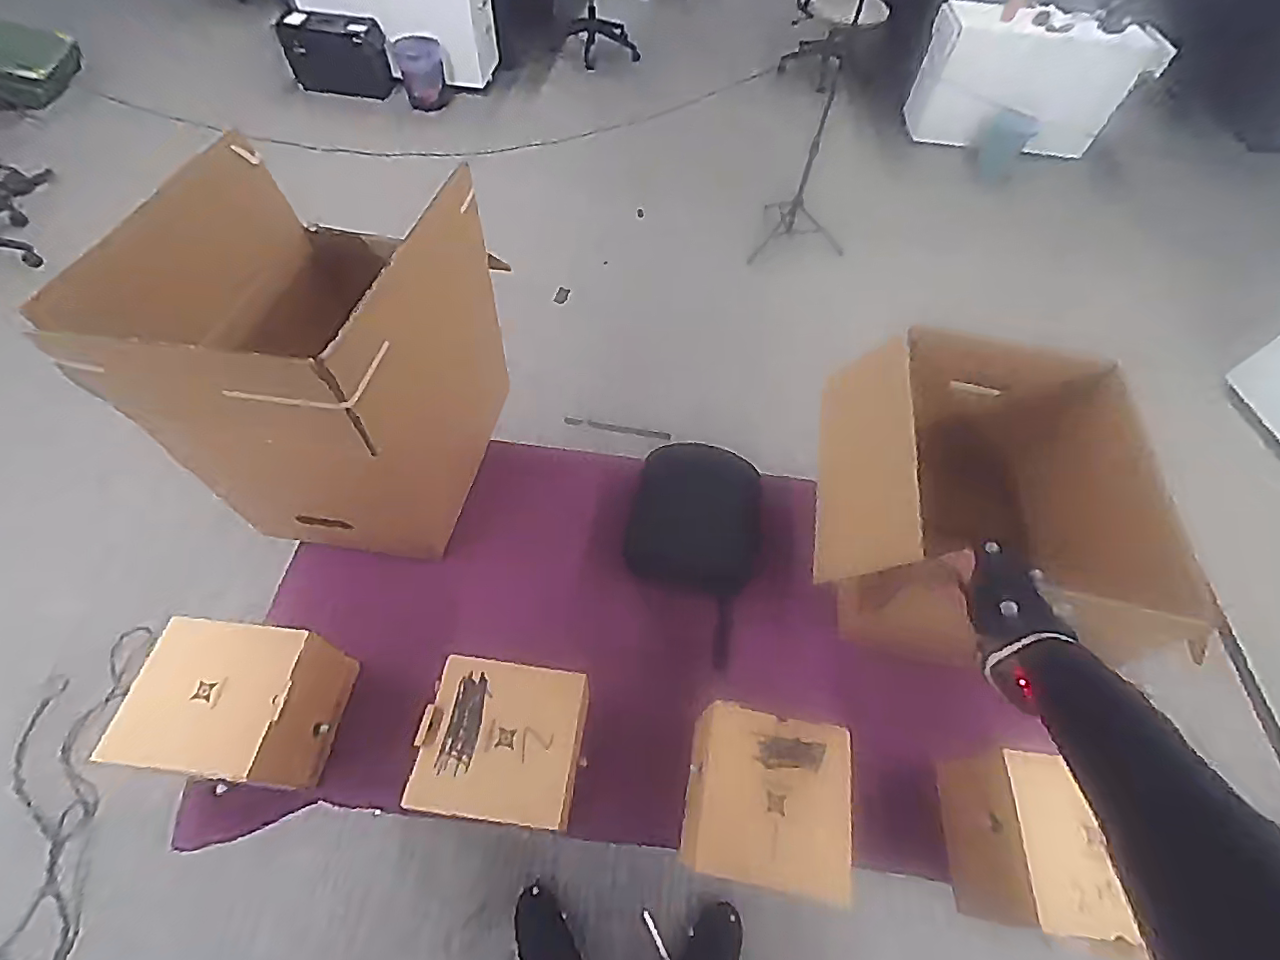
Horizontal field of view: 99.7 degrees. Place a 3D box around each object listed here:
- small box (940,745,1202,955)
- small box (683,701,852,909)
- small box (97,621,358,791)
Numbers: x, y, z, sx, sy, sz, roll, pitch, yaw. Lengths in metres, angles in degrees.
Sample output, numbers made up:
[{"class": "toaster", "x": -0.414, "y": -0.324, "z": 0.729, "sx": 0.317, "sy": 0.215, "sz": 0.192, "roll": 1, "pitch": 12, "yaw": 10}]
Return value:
[{"class": "small box", "x": 0.498, "y": 0.444, "z": 0.664, "sx": 0.168, "sy": 0.176, "sz": 0.179, "roll": 7, "pitch": 57, "yaw": 3}, {"class": "small box", "x": 0.151, "y": 0.398, "z": 0.673, "sx": 0.168, "sy": 0.176, "sz": 0.179, "roll": 11, "pitch": 58, "yaw": 4}, {"class": "small box", "x": -0.505, "y": 0.297, "z": 0.697, "sx": 0.179, "sy": 0.176, "sz": 0.168, "roll": 7, "pitch": 57, "yaw": -1}]
